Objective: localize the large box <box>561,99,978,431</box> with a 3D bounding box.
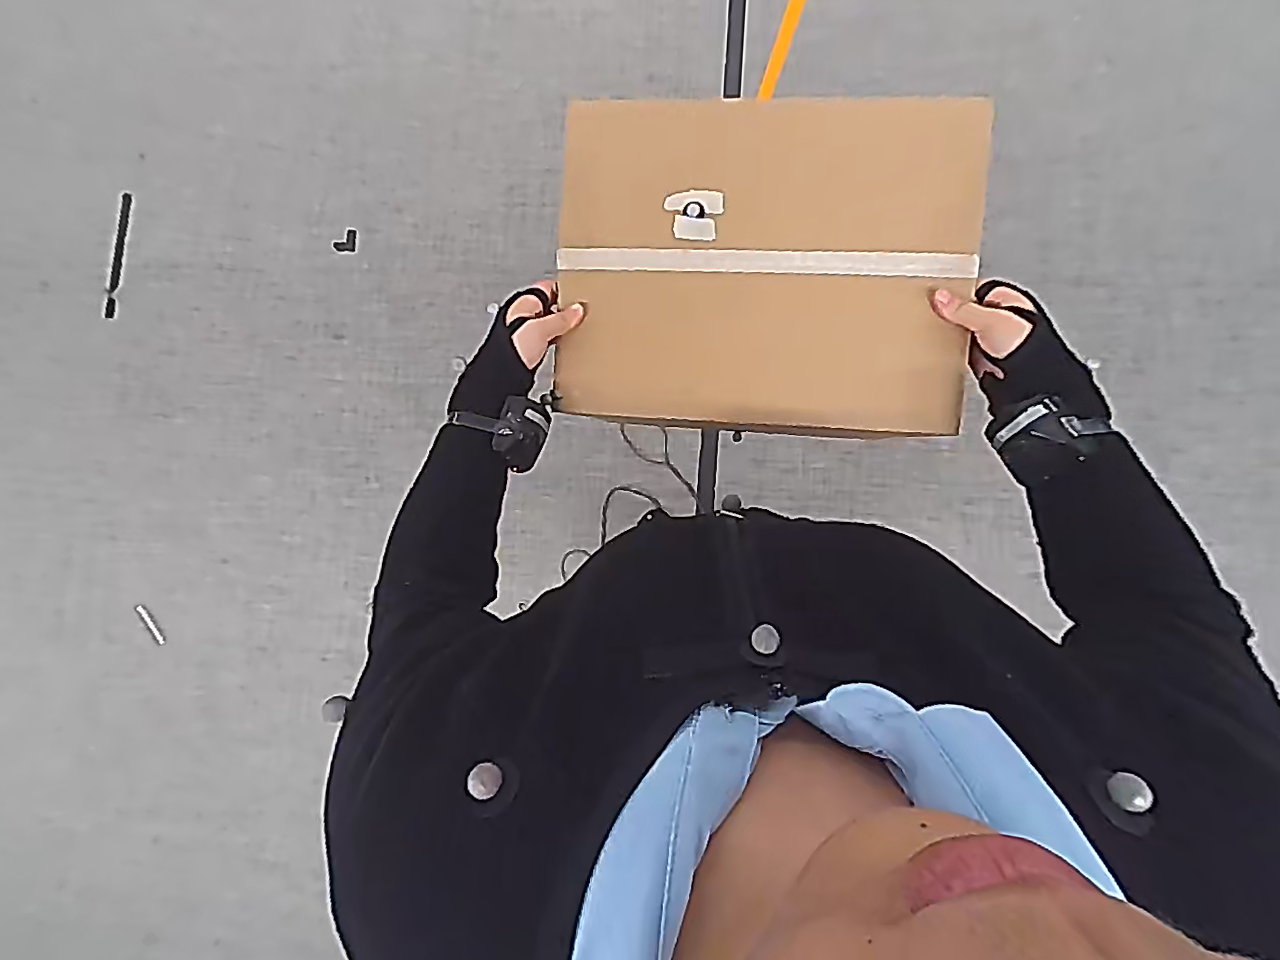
[{"bbox_3d":[0.139,-0.224,0.690,0.408,0.320,0.320,4,93,8],"label":"large box"}]
